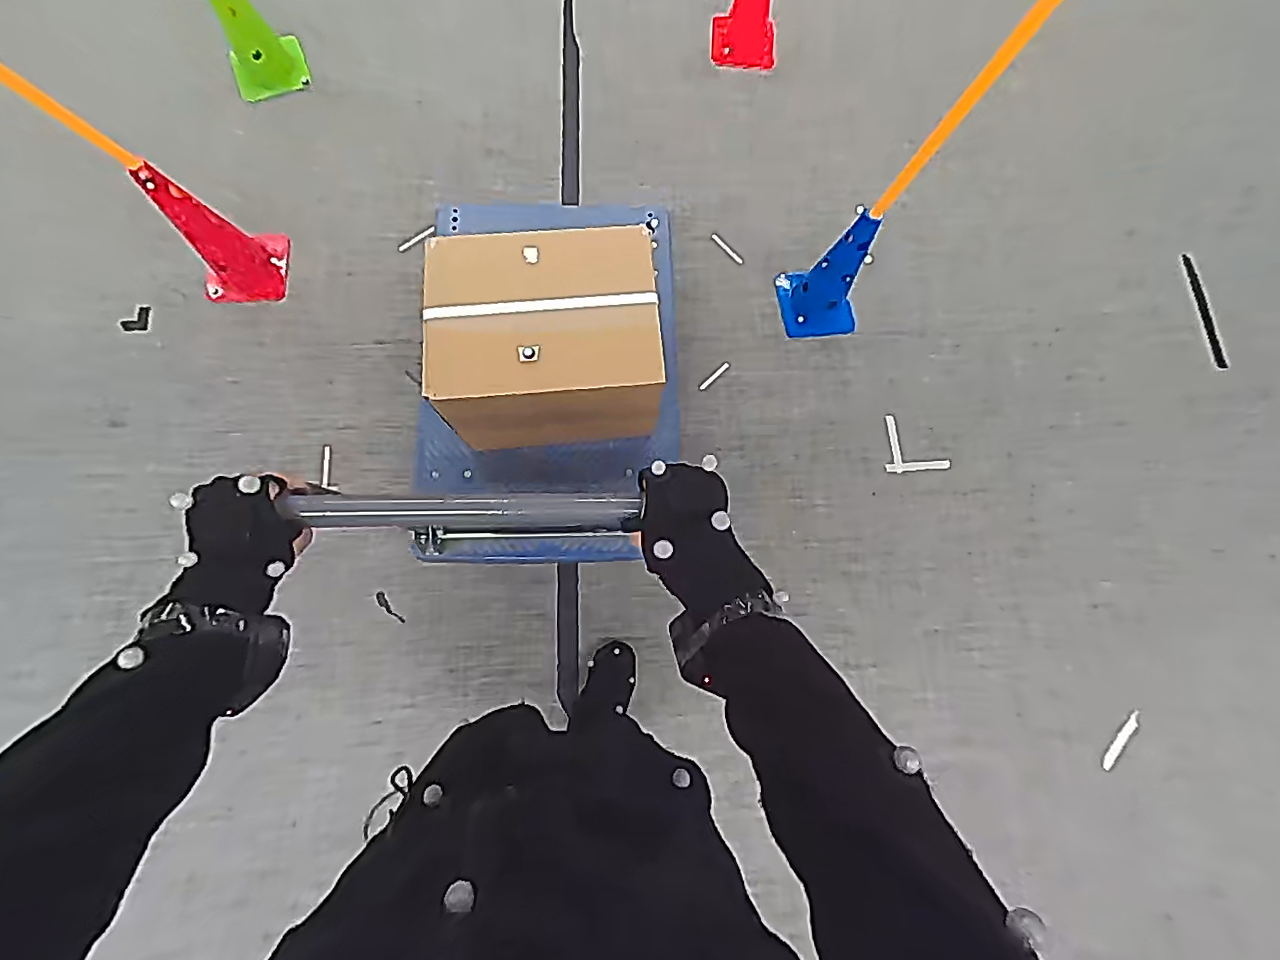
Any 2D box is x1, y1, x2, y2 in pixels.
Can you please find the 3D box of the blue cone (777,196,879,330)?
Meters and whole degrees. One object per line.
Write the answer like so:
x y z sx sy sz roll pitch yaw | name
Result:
0.496 -0.548 1.350 0.193 0.380 0.192 -6 76 -4 | blue cone

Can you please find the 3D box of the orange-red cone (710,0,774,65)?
0.334 -1.426 1.529 0.199 0.360 0.198 5 77 -3 | orange-red cone
